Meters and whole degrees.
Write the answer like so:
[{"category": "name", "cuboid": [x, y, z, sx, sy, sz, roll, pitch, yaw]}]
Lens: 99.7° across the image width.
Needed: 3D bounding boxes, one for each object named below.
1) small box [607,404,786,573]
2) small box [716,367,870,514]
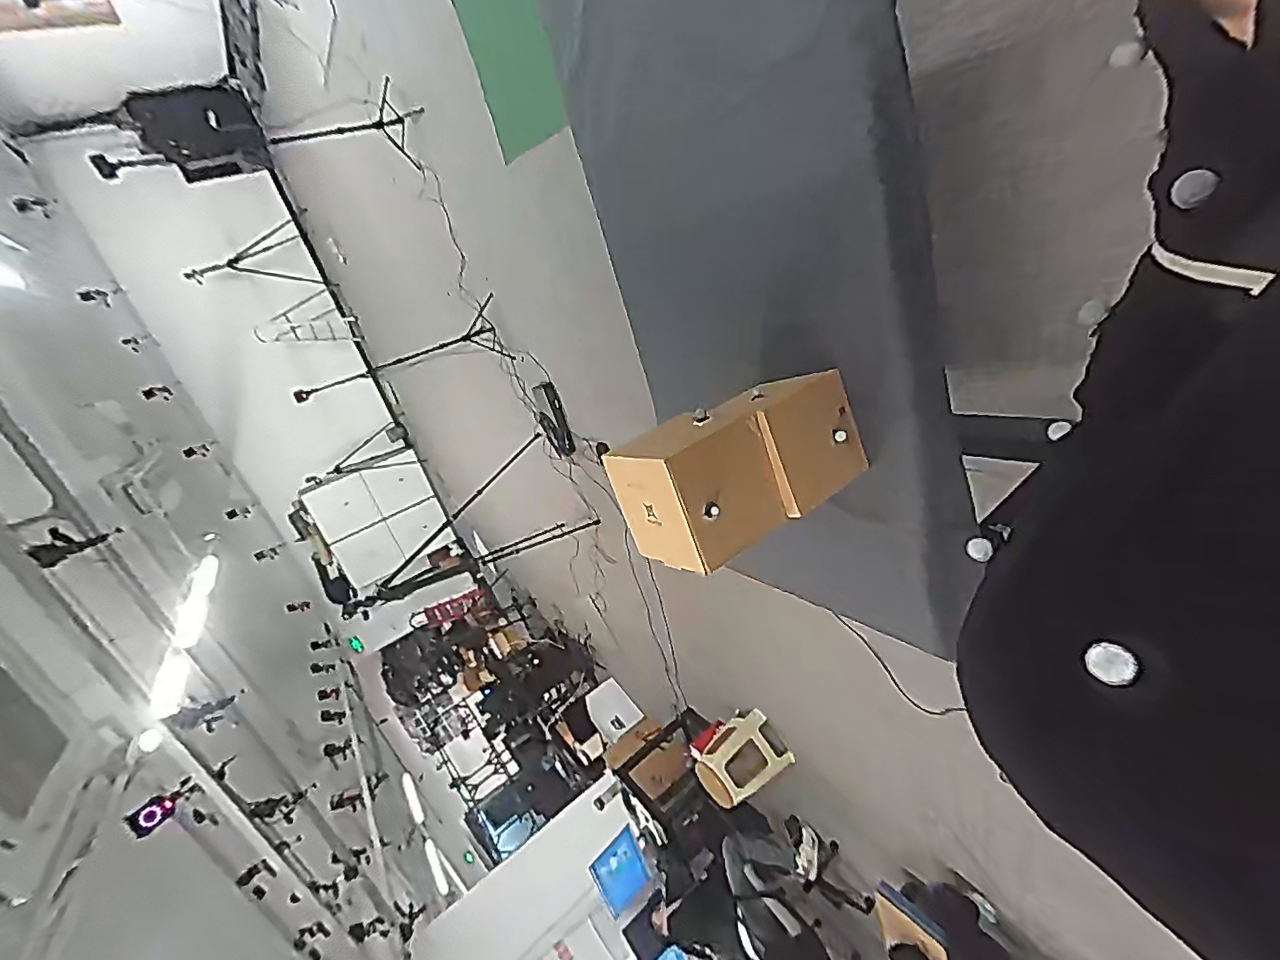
[{"category": "small box", "cuboid": [0.086, 0.005, 0.786, 0.168, 0.176, 0.179, 5, 120, 57]}, {"category": "small box", "cuboid": [0.222, -0.062, 0.847, 0.179, 0.176, 0.168, 0, 116, 60]}]
